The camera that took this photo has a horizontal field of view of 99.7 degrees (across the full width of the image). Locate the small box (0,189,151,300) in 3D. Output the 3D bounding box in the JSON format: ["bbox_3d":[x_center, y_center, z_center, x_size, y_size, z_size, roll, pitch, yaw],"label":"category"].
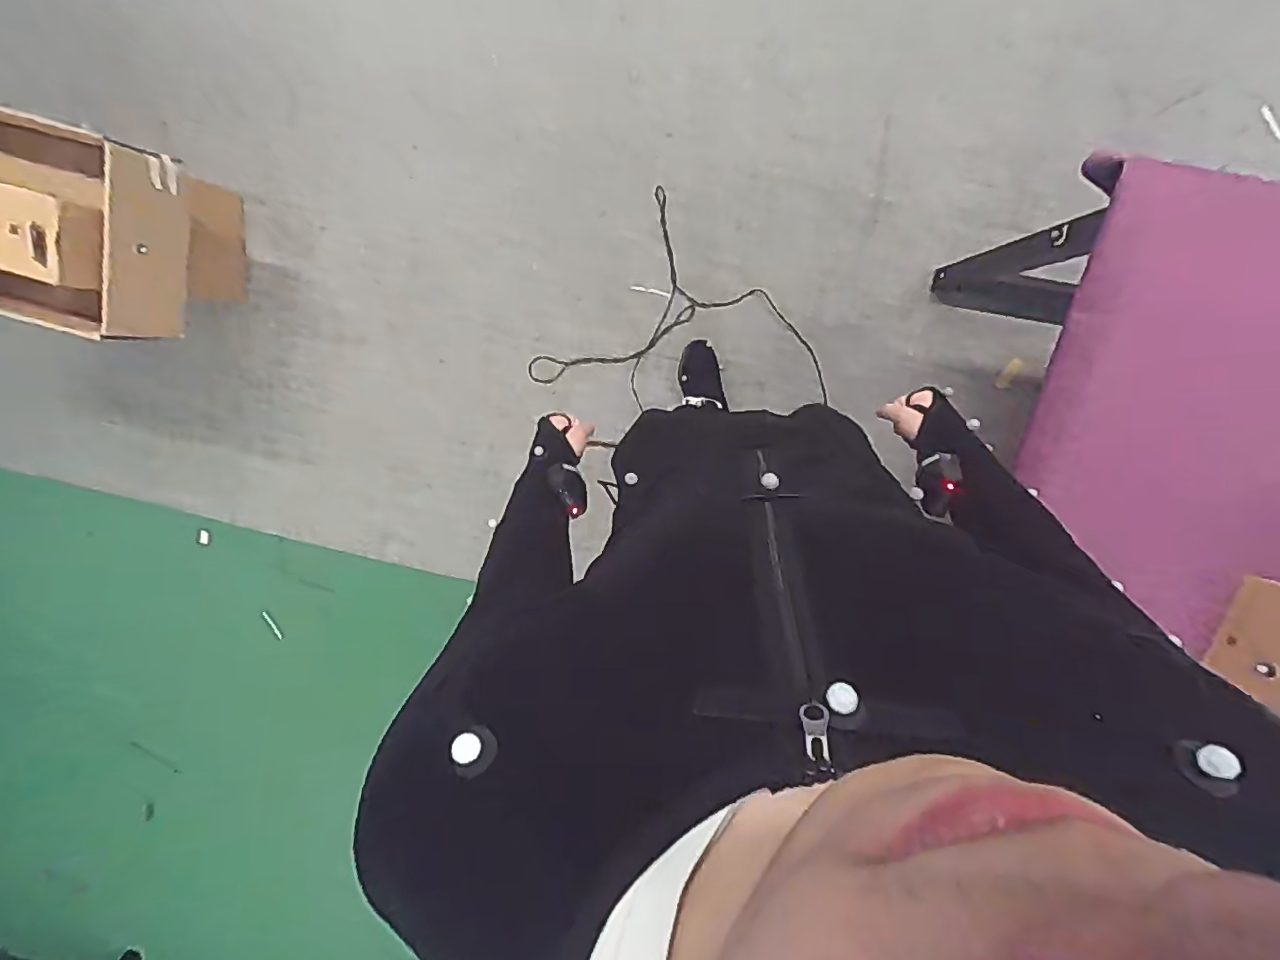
[{"bbox_3d":[-1.197,-0.490,1.149,0.179,0.176,0.168,16,103,4],"label":"small box"}]

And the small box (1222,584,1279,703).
[{"bbox_3d":[1.013,0.262,0.766,0.179,0.176,0.168,14,104,3],"label":"small box"}]
